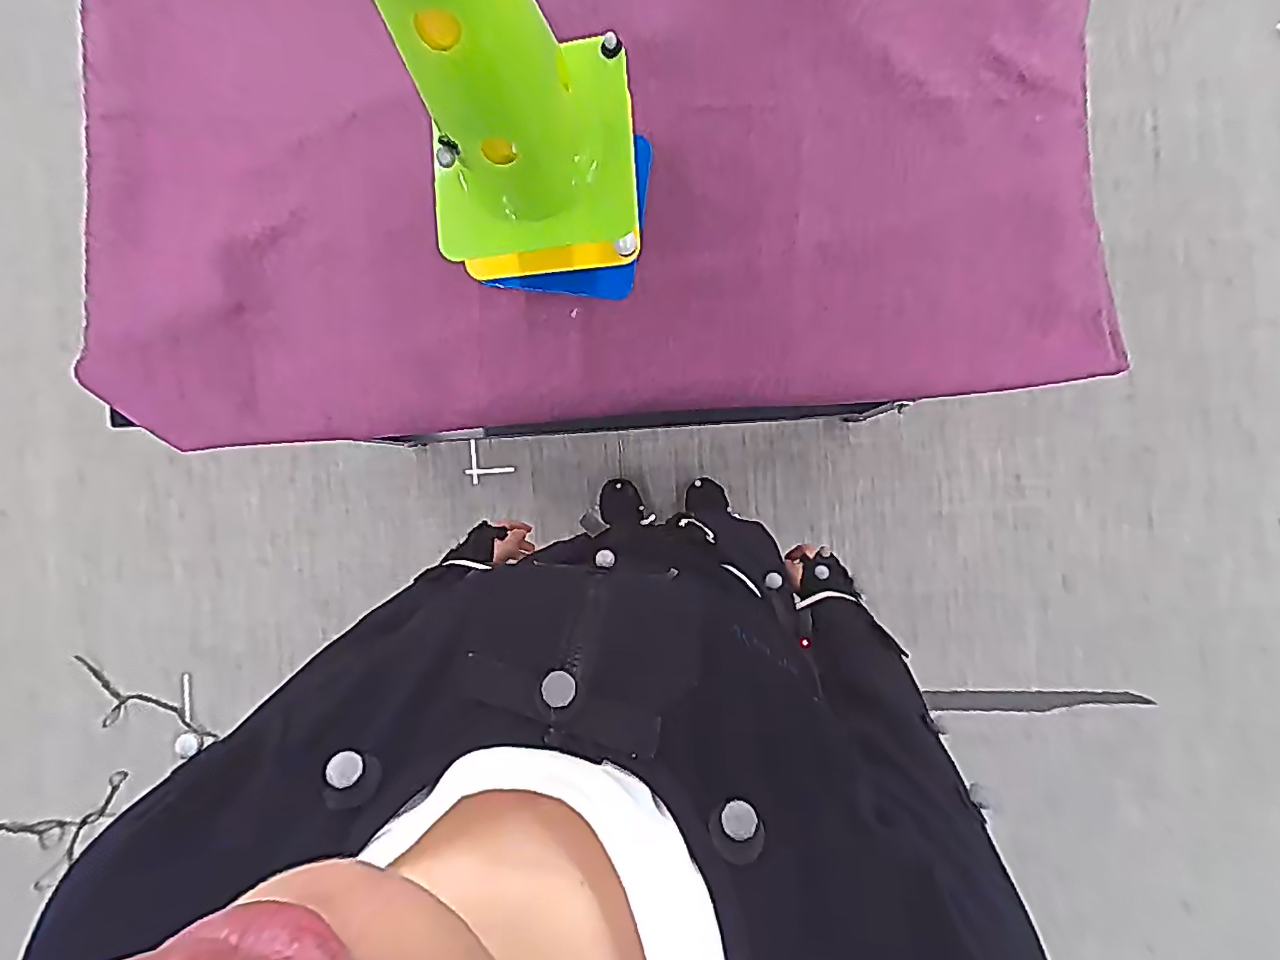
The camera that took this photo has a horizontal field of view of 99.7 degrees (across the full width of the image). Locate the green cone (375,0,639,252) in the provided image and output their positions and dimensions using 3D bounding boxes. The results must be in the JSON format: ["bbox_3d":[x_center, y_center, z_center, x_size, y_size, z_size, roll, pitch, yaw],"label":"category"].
[{"bbox_3d":[-0.130,-0.330,0.347,0.200,0.368,0.202,-5,88,8],"label":"green cone"}]
